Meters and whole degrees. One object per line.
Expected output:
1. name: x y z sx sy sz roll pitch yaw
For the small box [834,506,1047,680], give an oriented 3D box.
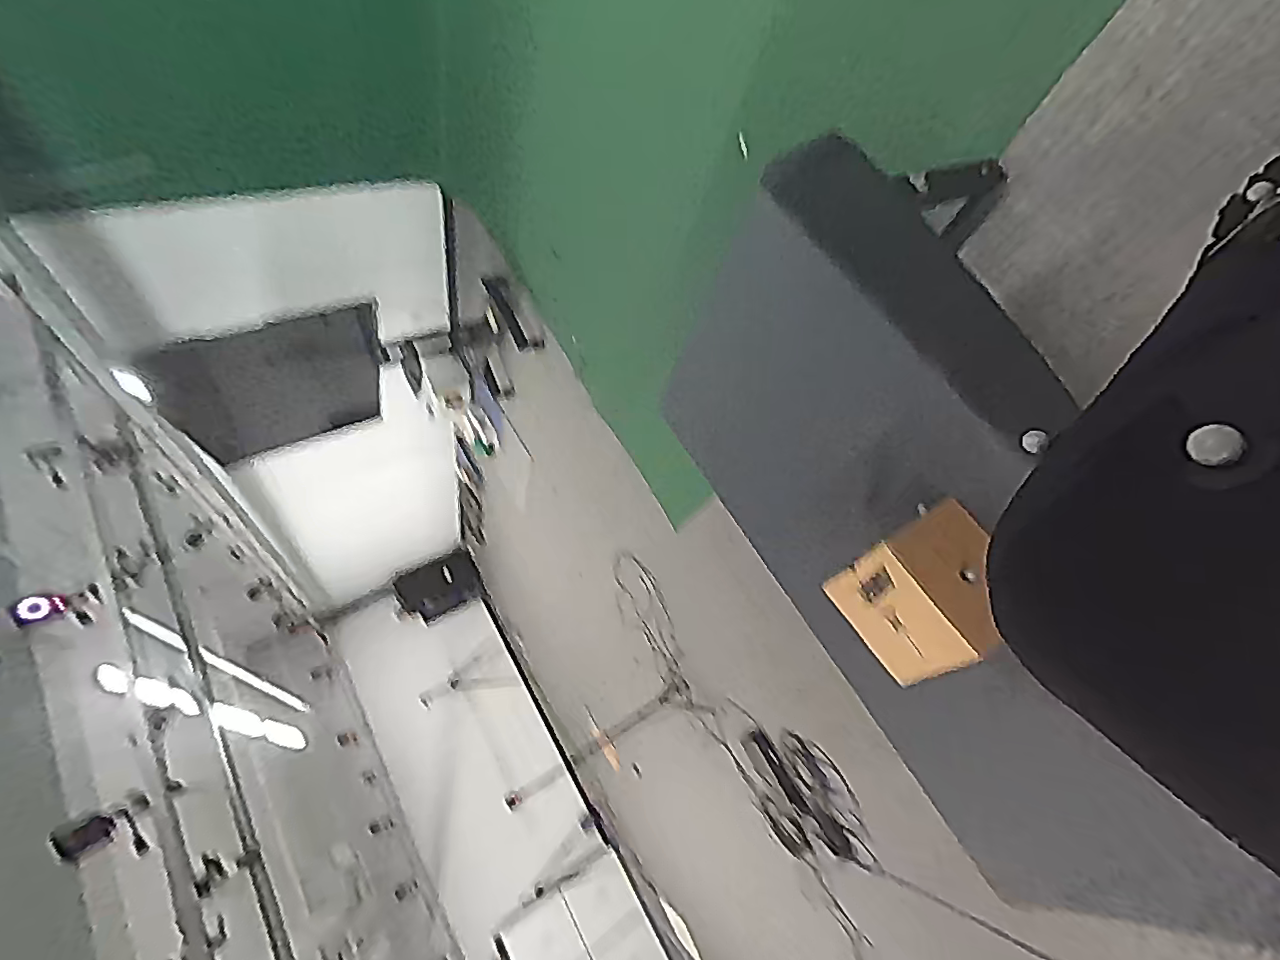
1. small box: 0.433 0.158 0.795 0.179 0.176 0.168 55 151 20
